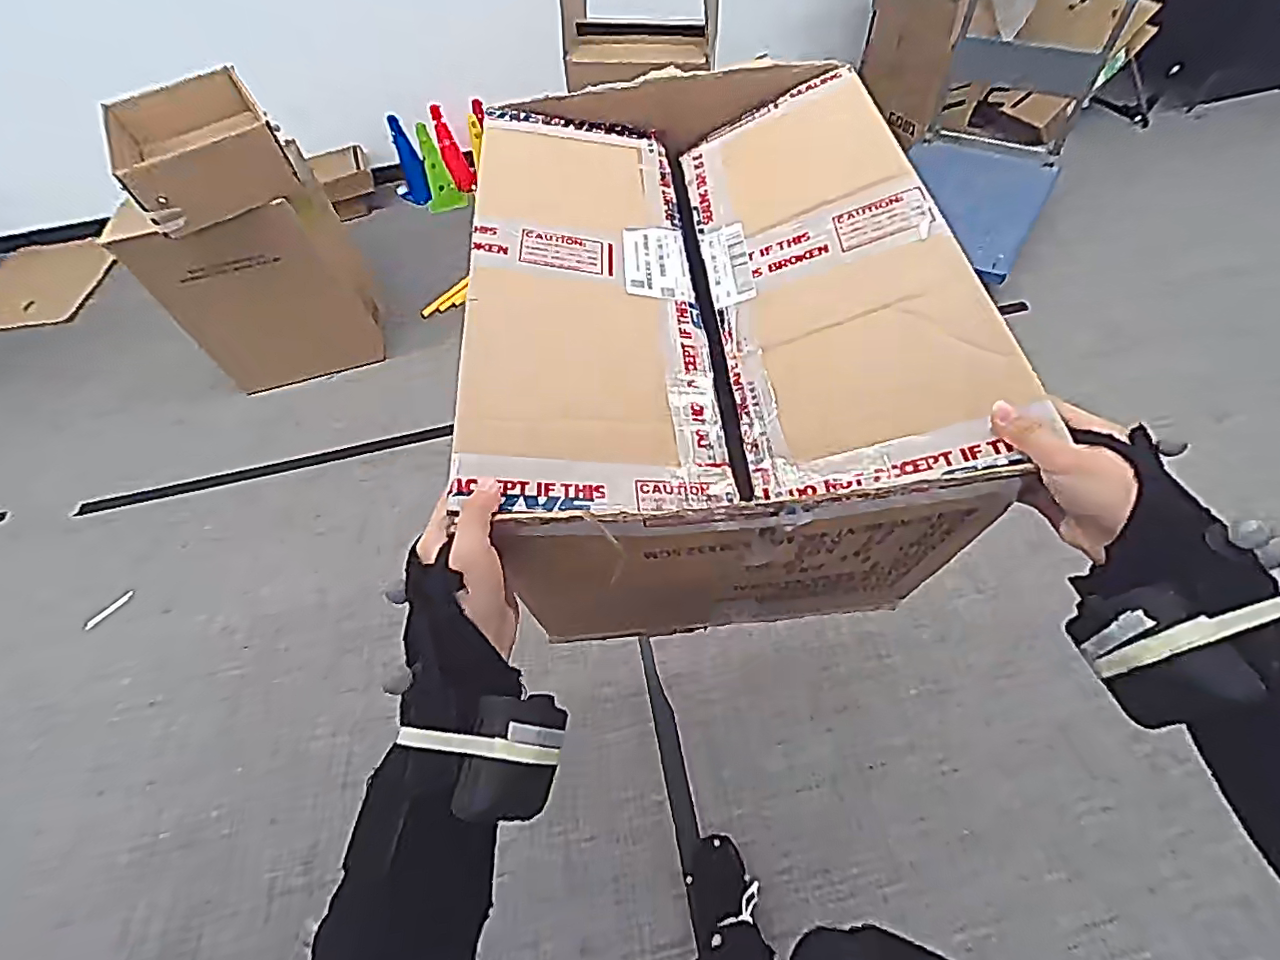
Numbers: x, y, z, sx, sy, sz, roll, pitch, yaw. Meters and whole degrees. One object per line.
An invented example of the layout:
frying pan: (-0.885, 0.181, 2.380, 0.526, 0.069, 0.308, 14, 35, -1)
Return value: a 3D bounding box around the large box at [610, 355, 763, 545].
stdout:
large box: (0.117, -0.084, 1.538, 0.320, 0.320, 0.408, -13, 55, -3)
